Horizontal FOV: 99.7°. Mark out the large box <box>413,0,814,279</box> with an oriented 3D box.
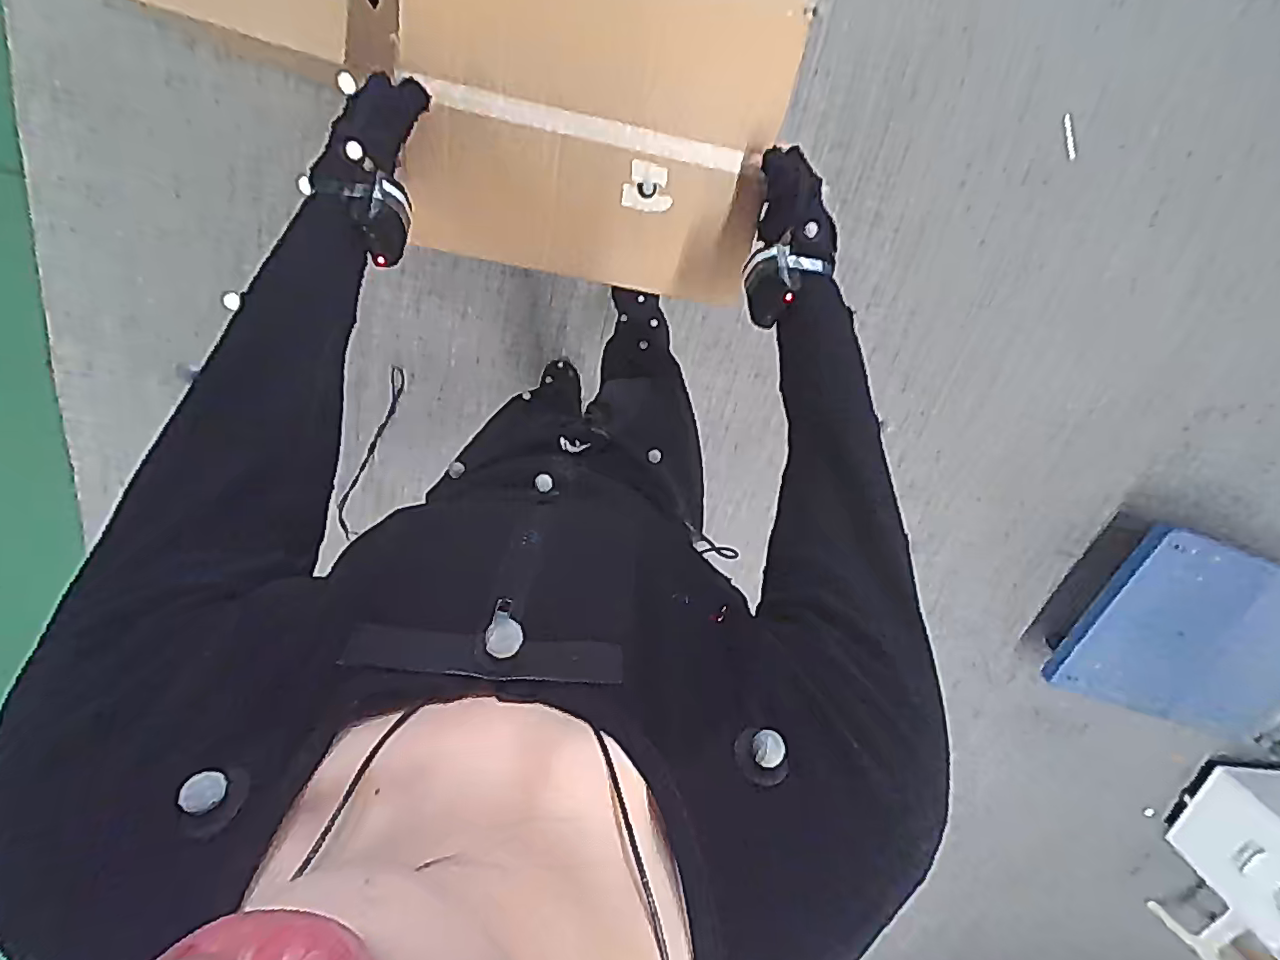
[{"bbox_3d":[-0.053,-0.480,0.713,0.408,0.320,0.320,7,119,-10],"label":"large box"}]
